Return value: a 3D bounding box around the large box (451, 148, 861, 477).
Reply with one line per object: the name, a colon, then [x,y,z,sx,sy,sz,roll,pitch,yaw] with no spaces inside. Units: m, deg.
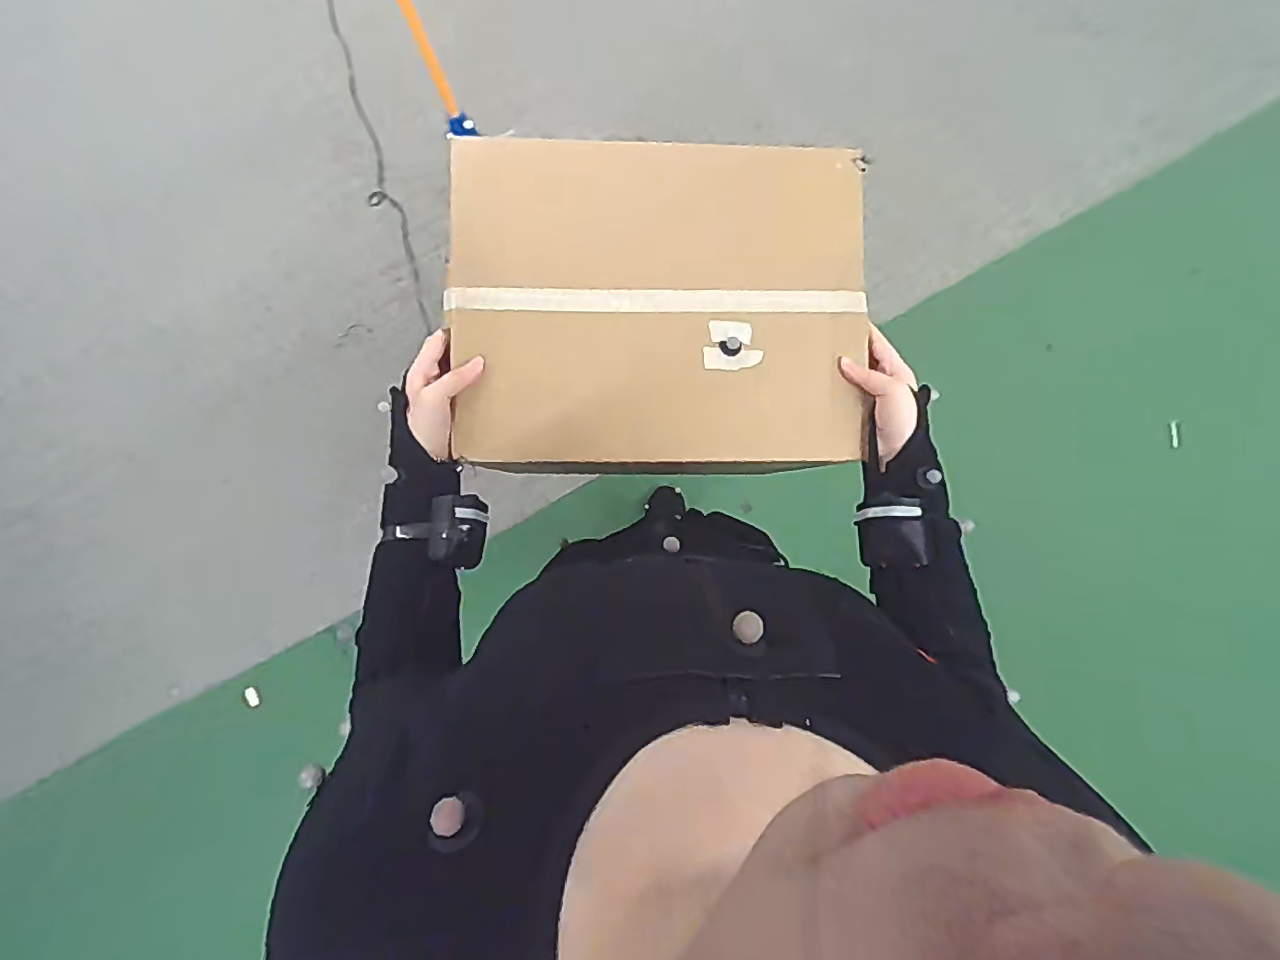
large box: [0.007,-0.170,0.680,0.408,0.320,0.320,-1,89,-4]
